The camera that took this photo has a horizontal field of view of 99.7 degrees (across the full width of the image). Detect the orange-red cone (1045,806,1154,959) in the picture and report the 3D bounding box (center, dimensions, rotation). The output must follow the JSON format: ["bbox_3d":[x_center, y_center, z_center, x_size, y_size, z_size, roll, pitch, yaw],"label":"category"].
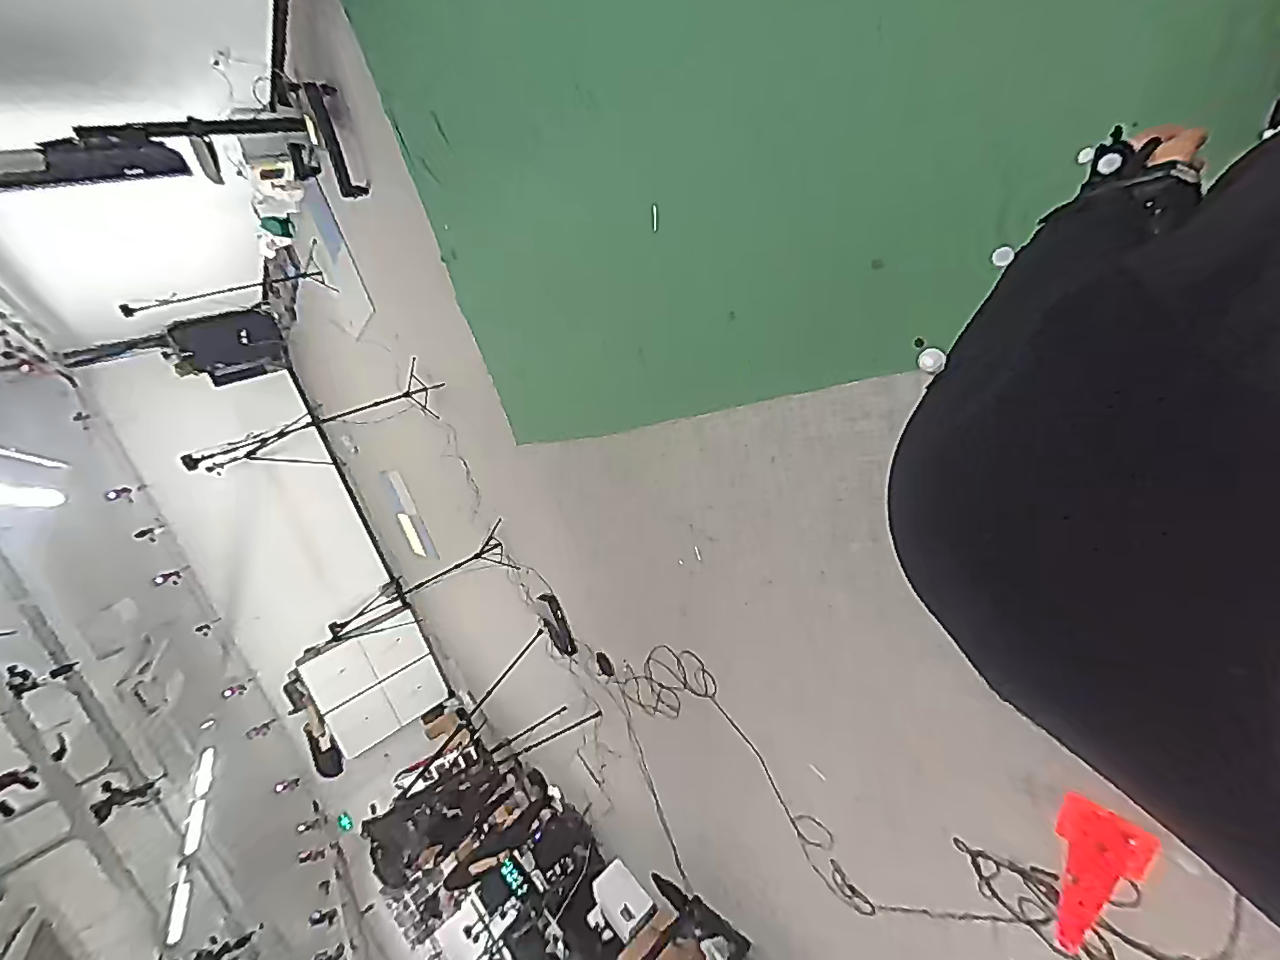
[{"bbox_3d":[1.110,1.063,1.373,0.199,0.360,0.198,26,130,45],"label":"orange-red cone"}]
